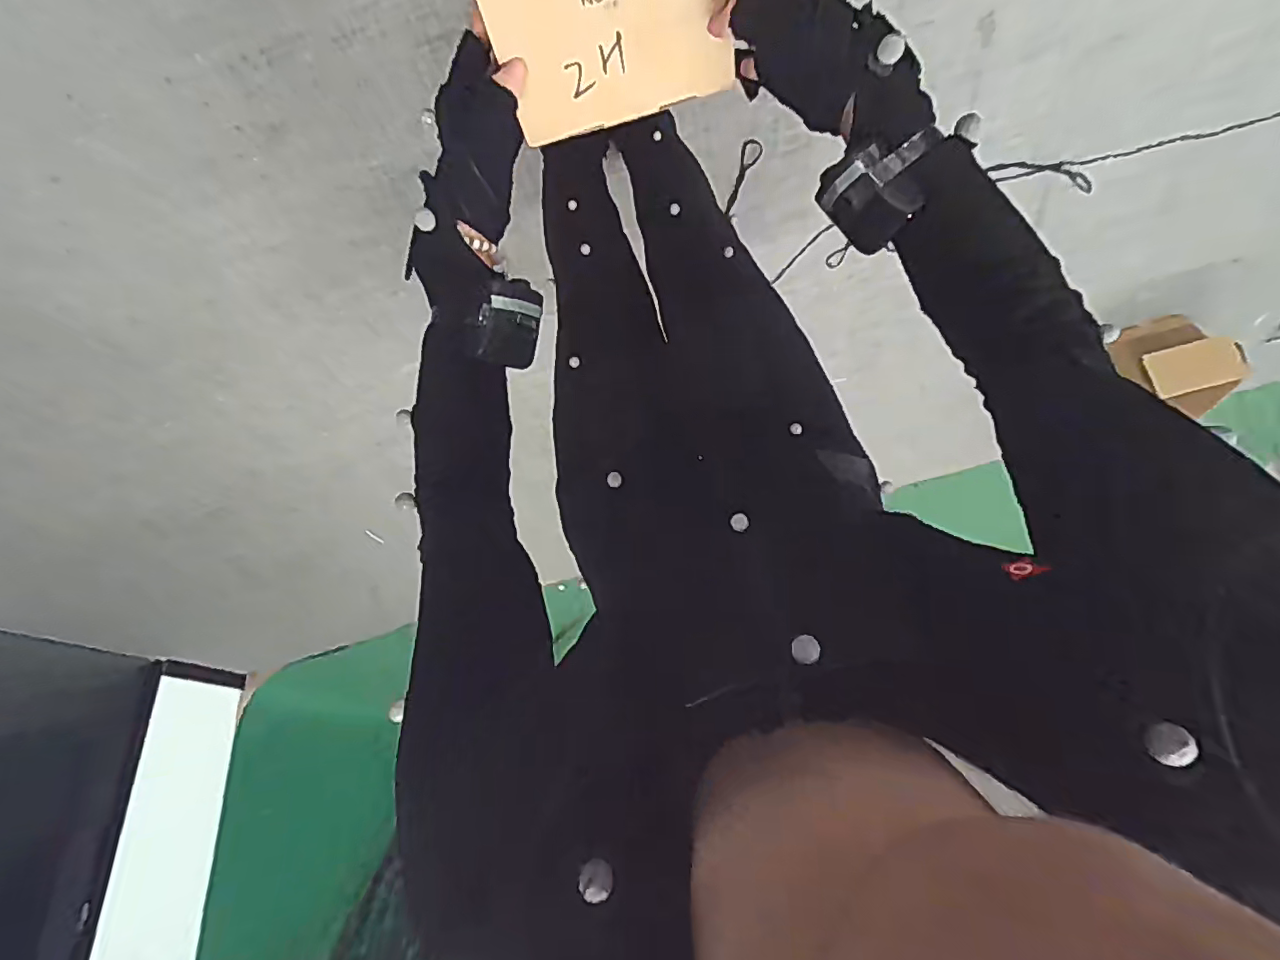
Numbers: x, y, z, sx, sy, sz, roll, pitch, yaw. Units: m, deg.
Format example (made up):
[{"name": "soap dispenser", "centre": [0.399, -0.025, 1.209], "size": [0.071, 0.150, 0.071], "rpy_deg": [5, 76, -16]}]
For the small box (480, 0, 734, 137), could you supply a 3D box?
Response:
[{"name": "small box", "centre": [-0.037, -0.390, 0.379], "size": [0.168, 0.176, 0.179], "rpy_deg": [-13, 148, 5]}]
